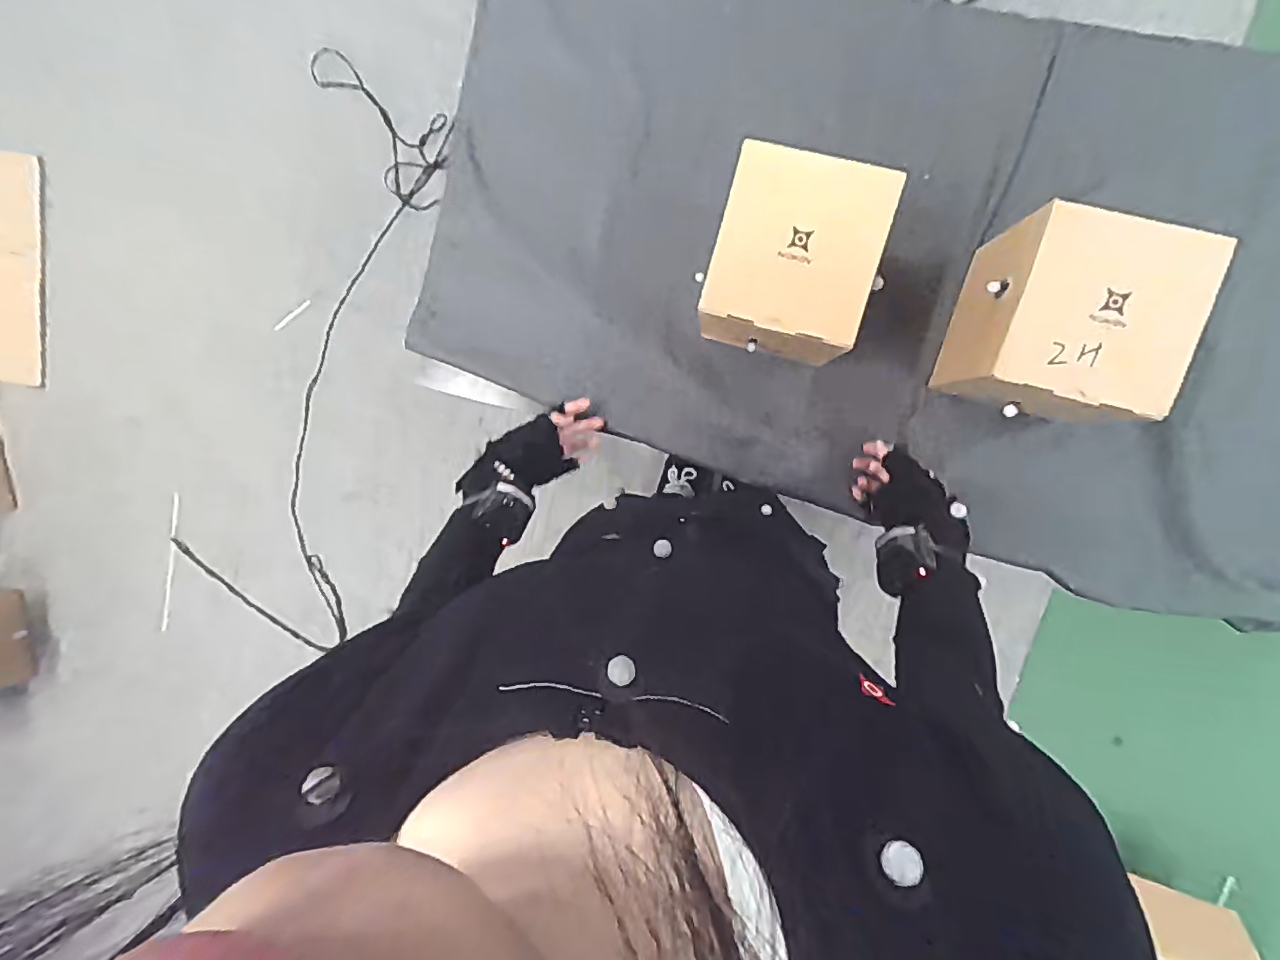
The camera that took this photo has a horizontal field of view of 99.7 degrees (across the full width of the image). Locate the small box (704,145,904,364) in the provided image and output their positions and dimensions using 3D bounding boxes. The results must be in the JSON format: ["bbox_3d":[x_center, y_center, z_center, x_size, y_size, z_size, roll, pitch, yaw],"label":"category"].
[{"bbox_3d":[0.173,-0.246,0.633,0.168,0.176,0.179,15,98,4],"label":"small box"}]

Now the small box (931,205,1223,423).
[{"bbox_3d":[0.460,-0.169,0.605,0.168,0.176,0.179,16,98,5],"label":"small box"}]
